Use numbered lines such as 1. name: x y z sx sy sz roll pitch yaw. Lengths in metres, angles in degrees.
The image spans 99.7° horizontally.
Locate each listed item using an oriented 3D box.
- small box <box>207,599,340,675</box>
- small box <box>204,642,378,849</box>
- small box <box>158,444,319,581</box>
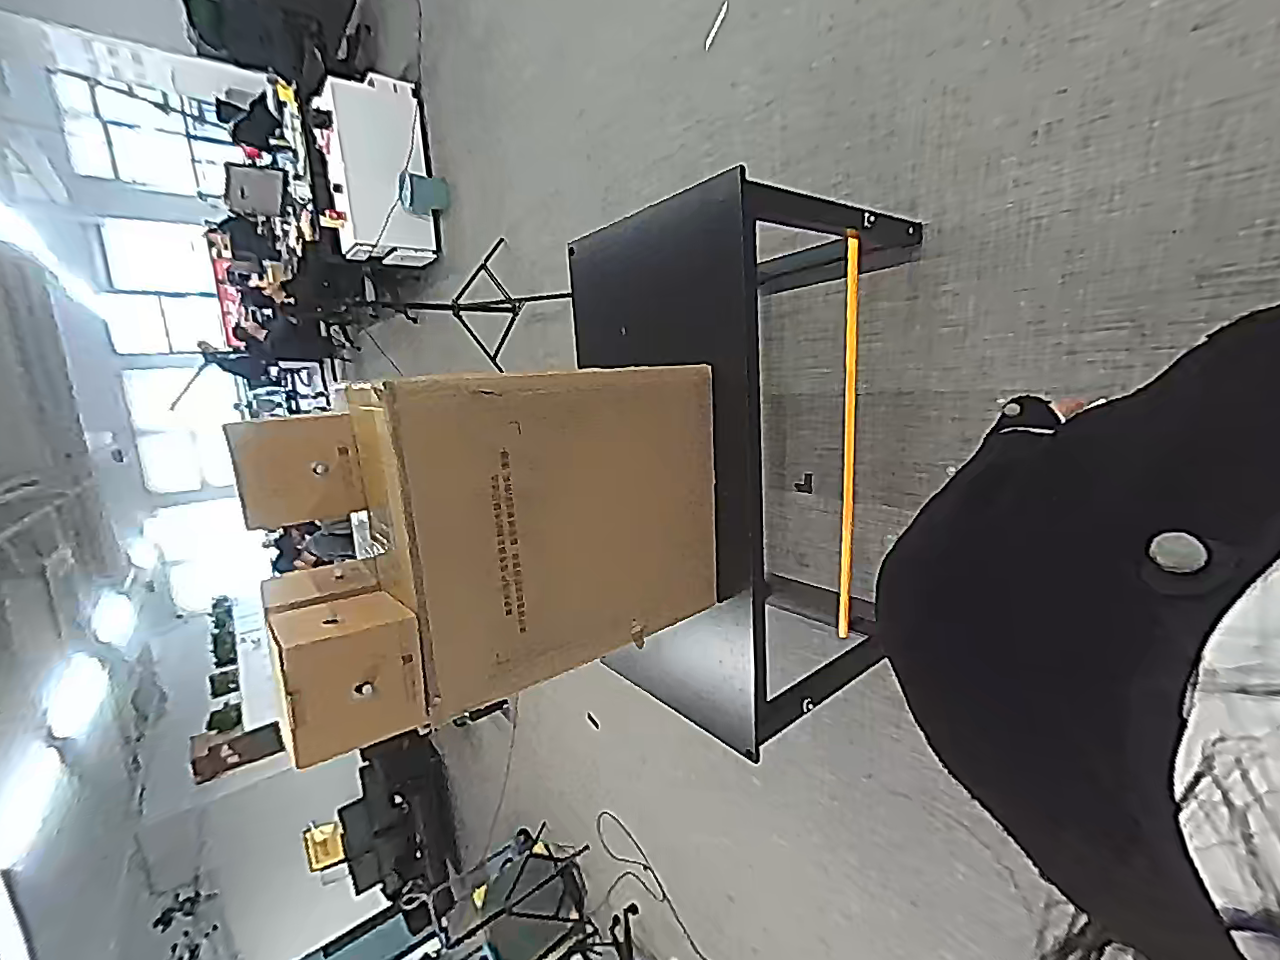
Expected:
1. small box: -0.591 0.321 0.894 0.168 0.176 0.179 12 108 52
2. small box: -0.466 0.336 0.731 0.179 0.176 0.168 2 98 50
3. small box: -0.617 0.039 0.847 0.179 0.176 0.168 10 109 53
